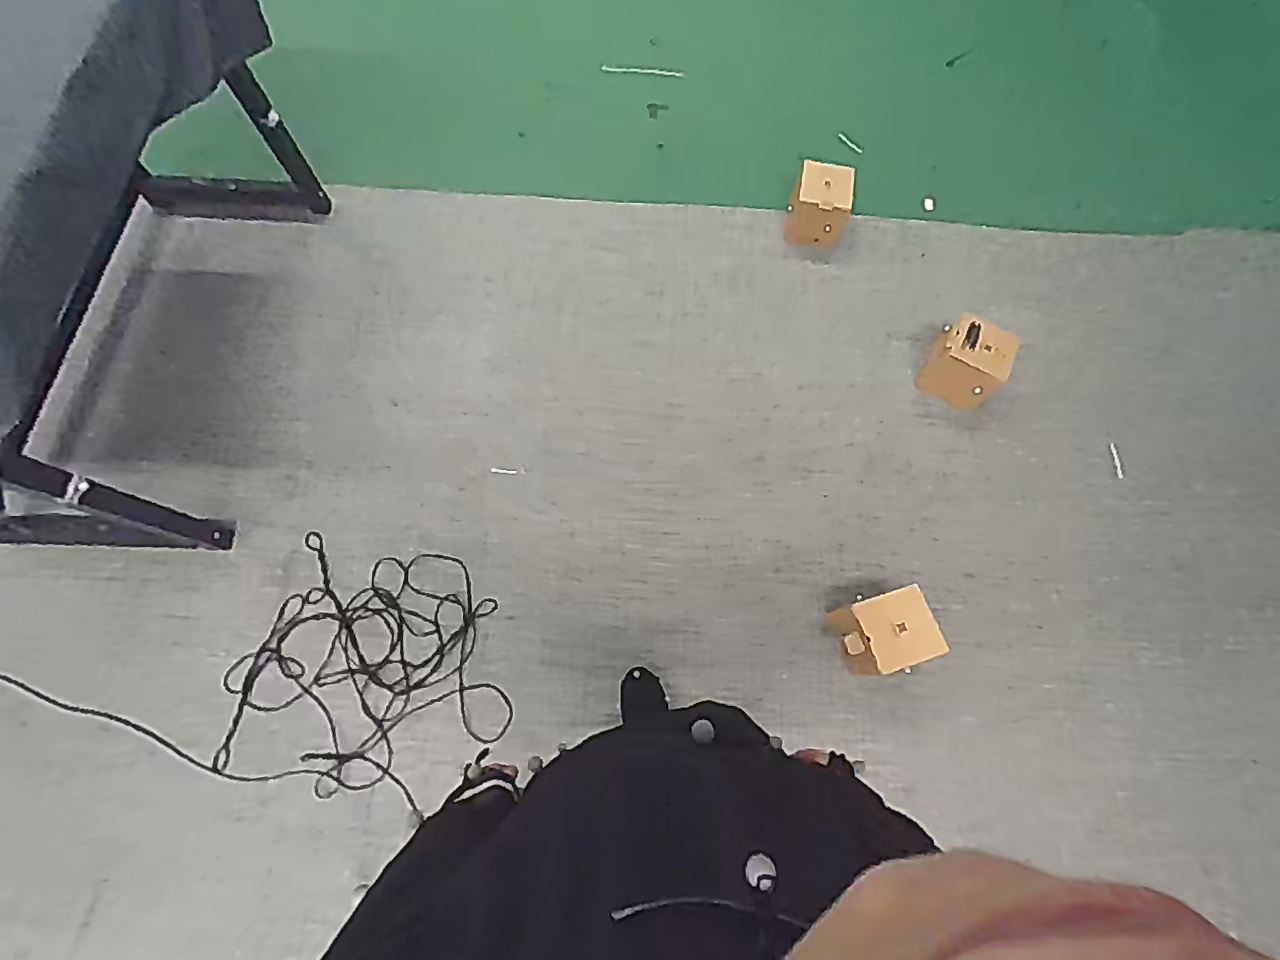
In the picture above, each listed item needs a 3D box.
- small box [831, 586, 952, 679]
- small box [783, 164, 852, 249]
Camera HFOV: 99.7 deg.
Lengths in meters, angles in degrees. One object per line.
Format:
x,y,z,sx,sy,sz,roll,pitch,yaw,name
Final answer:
0.598,0.370,1.310,0.179,0.176,0.168,-17,72,-7,small box
0.575,-0.887,1.766,0.168,0.176,0.179,10,69,0,small box
